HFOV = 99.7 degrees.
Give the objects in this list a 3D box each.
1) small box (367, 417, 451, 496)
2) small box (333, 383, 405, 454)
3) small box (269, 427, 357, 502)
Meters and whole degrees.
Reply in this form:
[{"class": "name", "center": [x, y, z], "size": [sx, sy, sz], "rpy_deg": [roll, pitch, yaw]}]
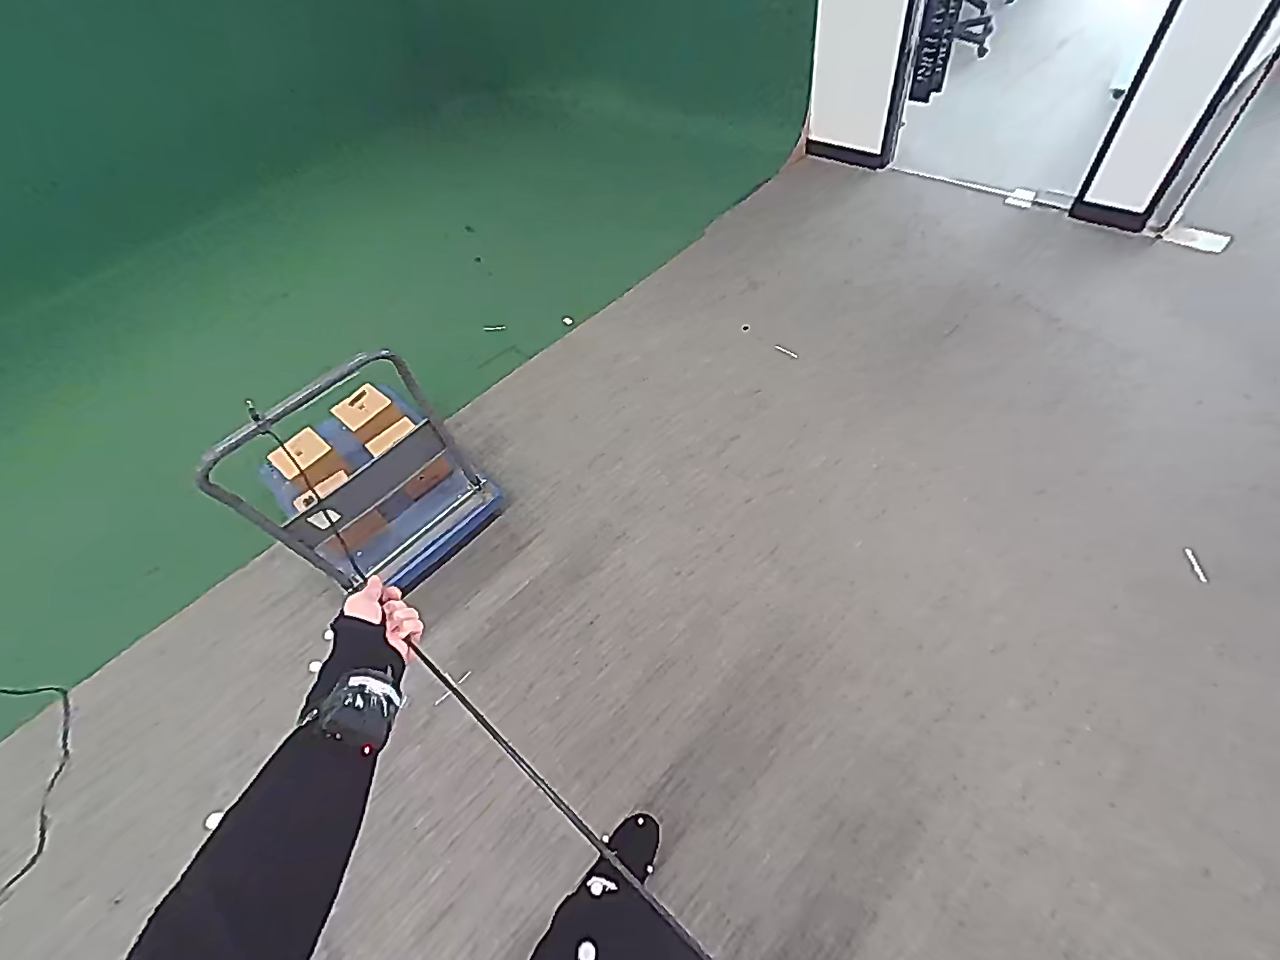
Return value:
[{"class": "small box", "center": [-0.783, -0.077, 1.842], "size": [0.168, 0.176, 0.179], "rpy_deg": [-41, 59, -18]}, {"class": "small box", "center": [-0.970, -0.217, 1.977], "size": [0.179, 0.176, 0.168], "rpy_deg": [33, 67, 28]}, {"class": "small box", "center": [-1.134, -0.048, 1.888], "size": [0.179, 0.176, 0.168], "rpy_deg": [33, 66, 29]}]
